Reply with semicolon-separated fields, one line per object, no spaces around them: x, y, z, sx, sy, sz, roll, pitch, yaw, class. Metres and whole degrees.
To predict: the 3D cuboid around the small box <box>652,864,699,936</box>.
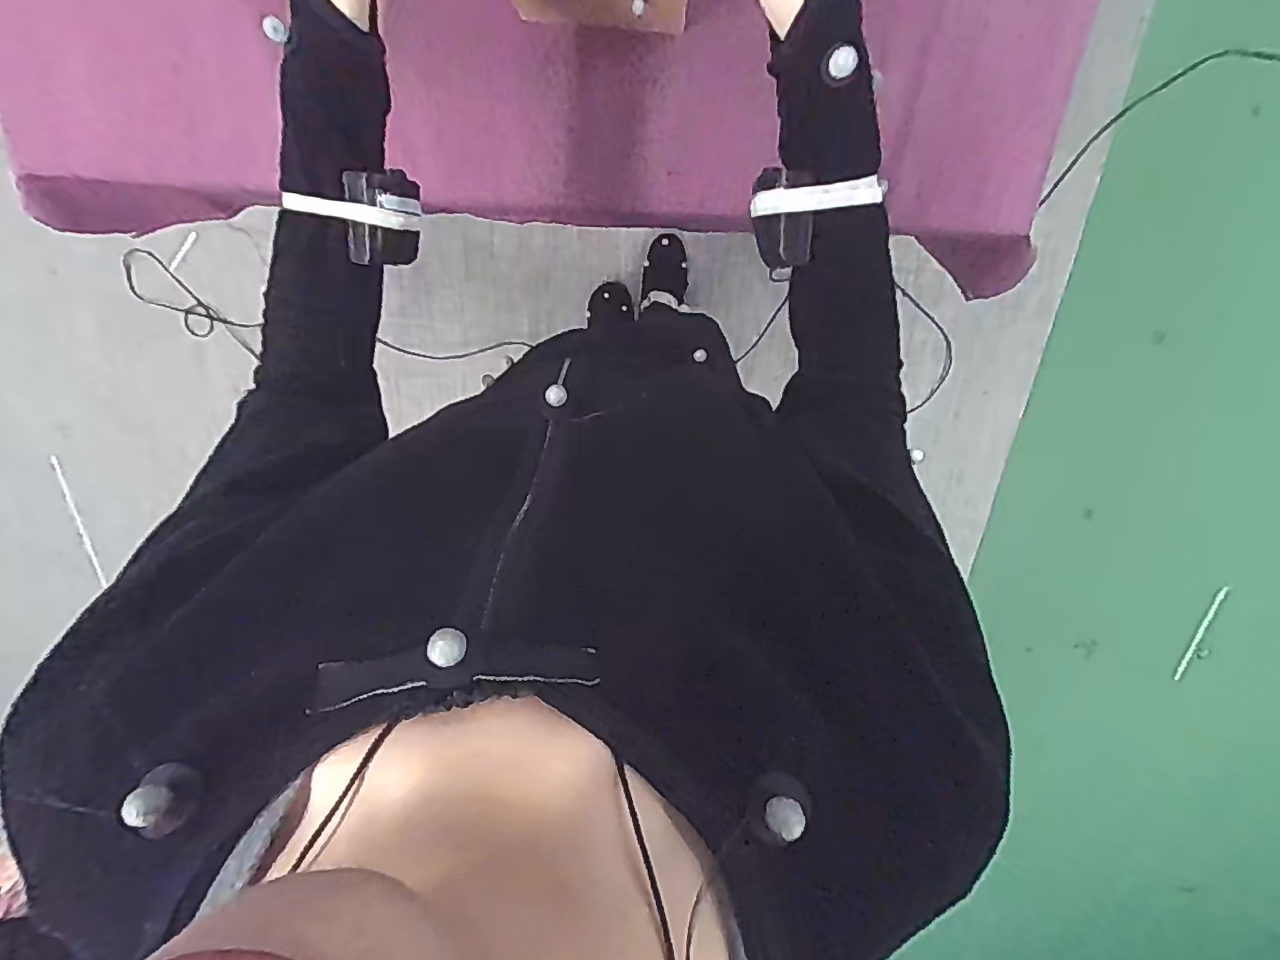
0.137;1.654;2.137;0.179;0.176;0.168;0;112;1;small box

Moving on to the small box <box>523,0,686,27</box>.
-0.031;-0.539;0.480;0.179;0.176;0.168;6;111;0;small box
